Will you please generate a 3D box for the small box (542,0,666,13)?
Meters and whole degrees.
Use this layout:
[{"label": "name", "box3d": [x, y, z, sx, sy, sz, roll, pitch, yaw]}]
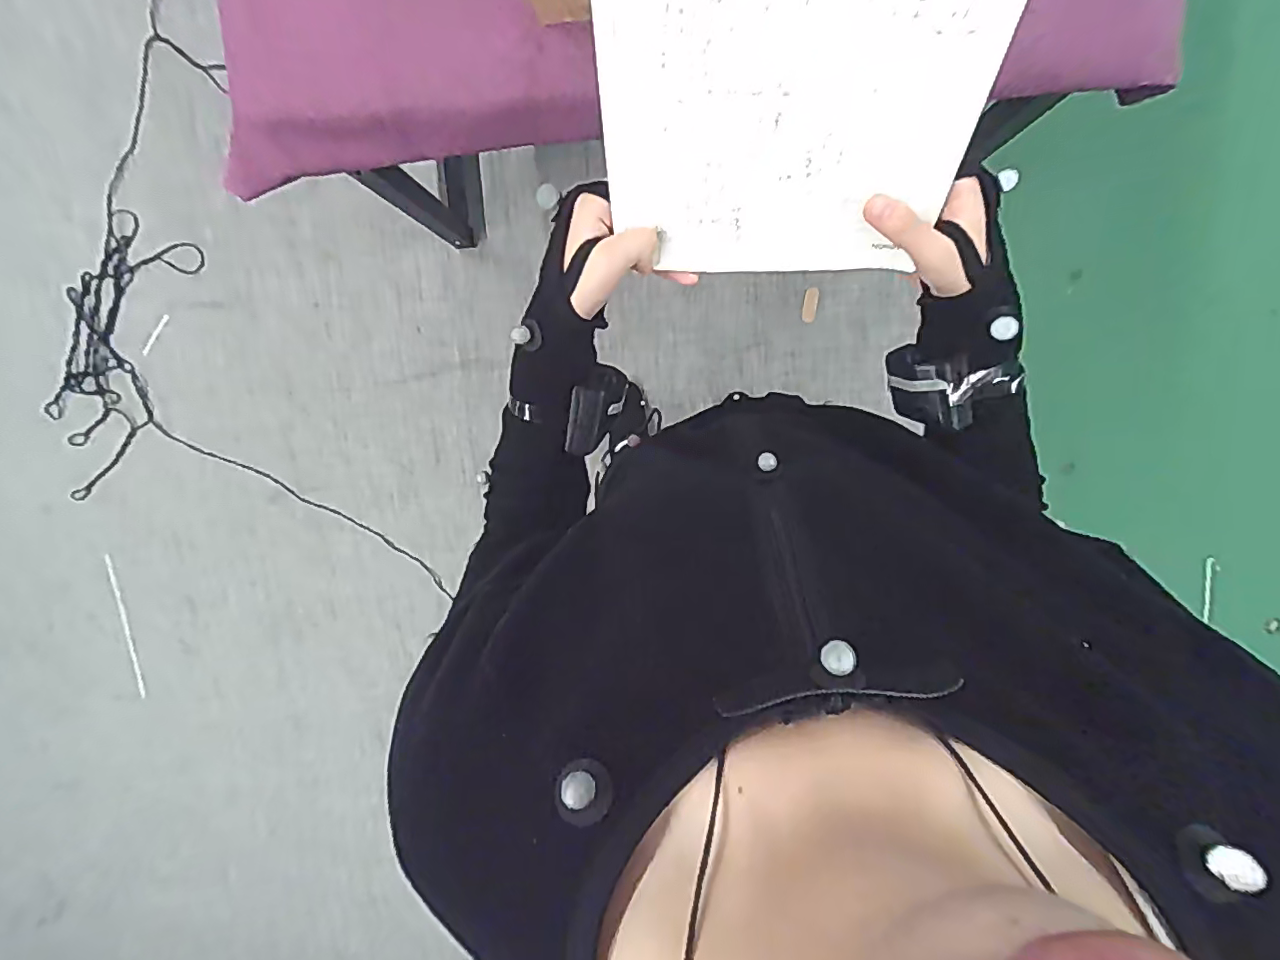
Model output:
[{"label": "small box", "box3d": [-0.053, -0.666, 0.603, 0.168, 0.176, 0.179, -2, 99, 3]}]
